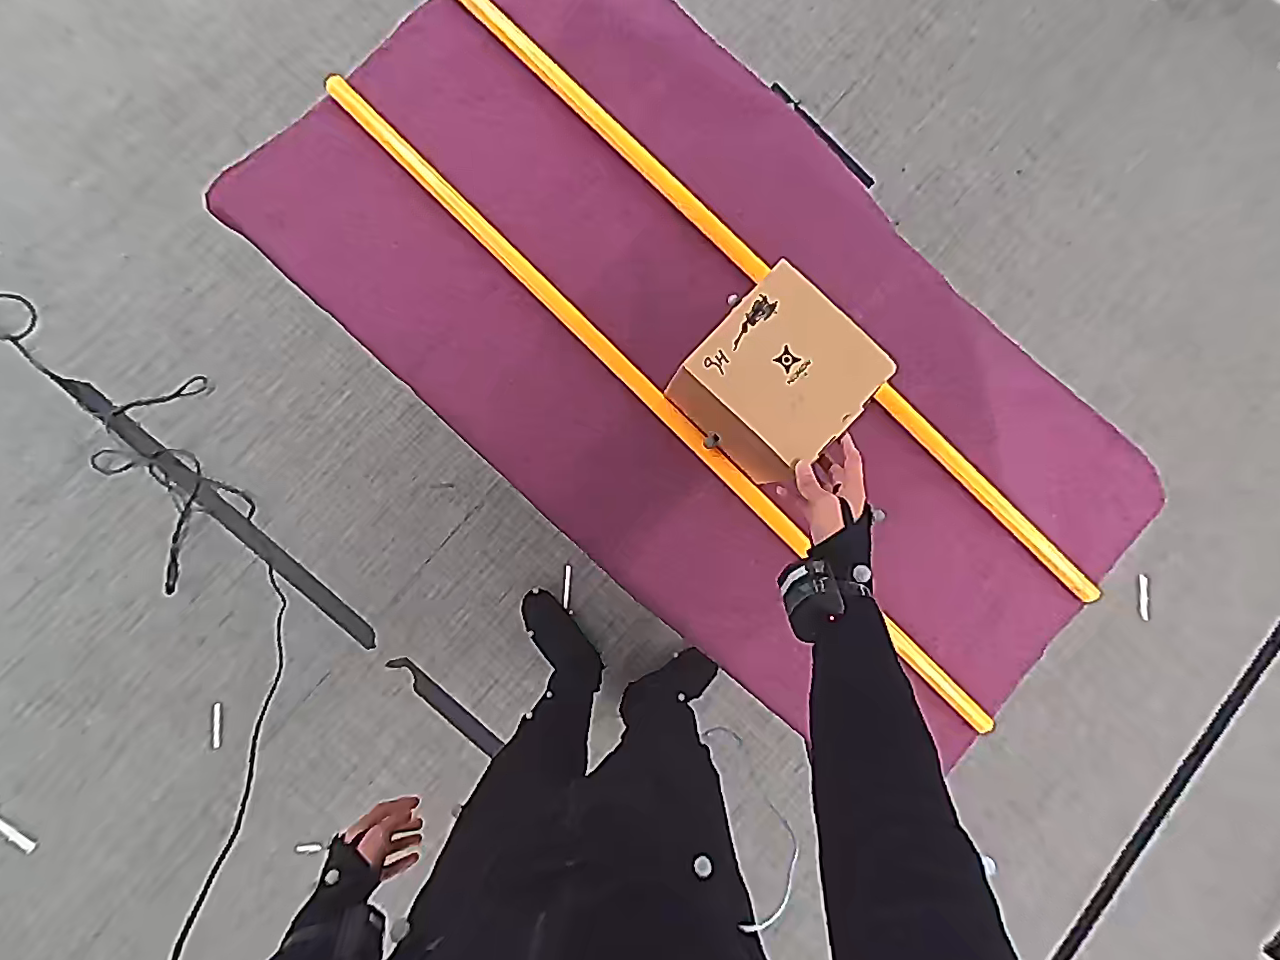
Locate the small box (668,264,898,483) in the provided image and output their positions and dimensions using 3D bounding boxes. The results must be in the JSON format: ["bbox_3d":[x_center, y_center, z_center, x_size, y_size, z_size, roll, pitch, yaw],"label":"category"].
[{"bbox_3d":[0.156,-0.113,0.650,0.179,0.176,0.168,44,85,-2],"label":"small box"}]
